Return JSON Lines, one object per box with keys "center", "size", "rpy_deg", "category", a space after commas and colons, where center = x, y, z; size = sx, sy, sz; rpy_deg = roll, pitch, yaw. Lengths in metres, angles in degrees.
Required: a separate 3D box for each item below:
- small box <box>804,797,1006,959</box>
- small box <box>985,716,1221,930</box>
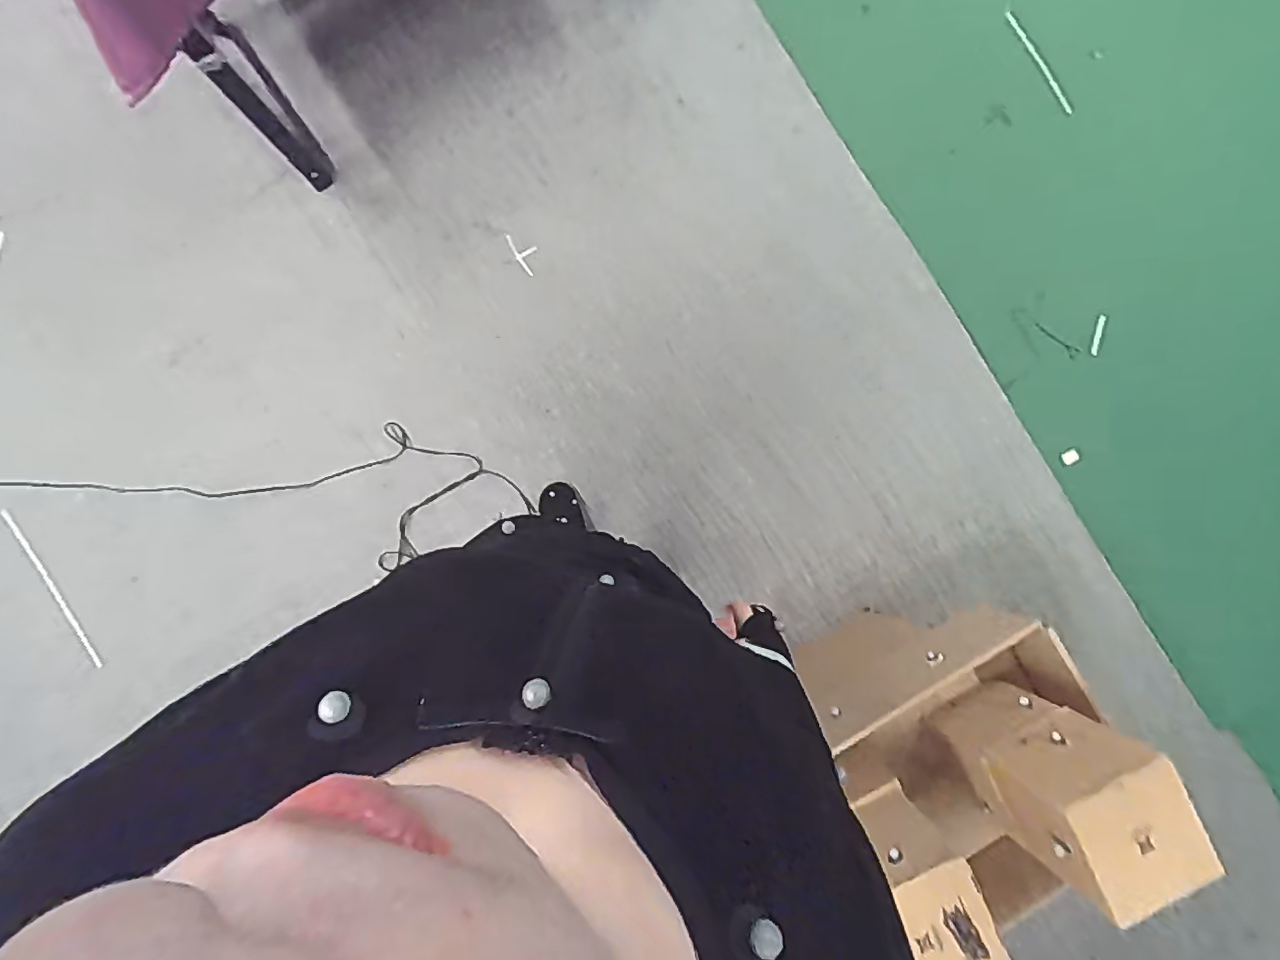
{"center": [0.368, 0.602, 0.780], "size": [0.179, 0.176, 0.168], "rpy_deg": [-23, 88, -3], "category": "small box"}
{"center": [0.662, 0.487, 0.796], "size": [0.168, 0.176, 0.179], "rpy_deg": [-24, 89, -3], "category": "small box"}
